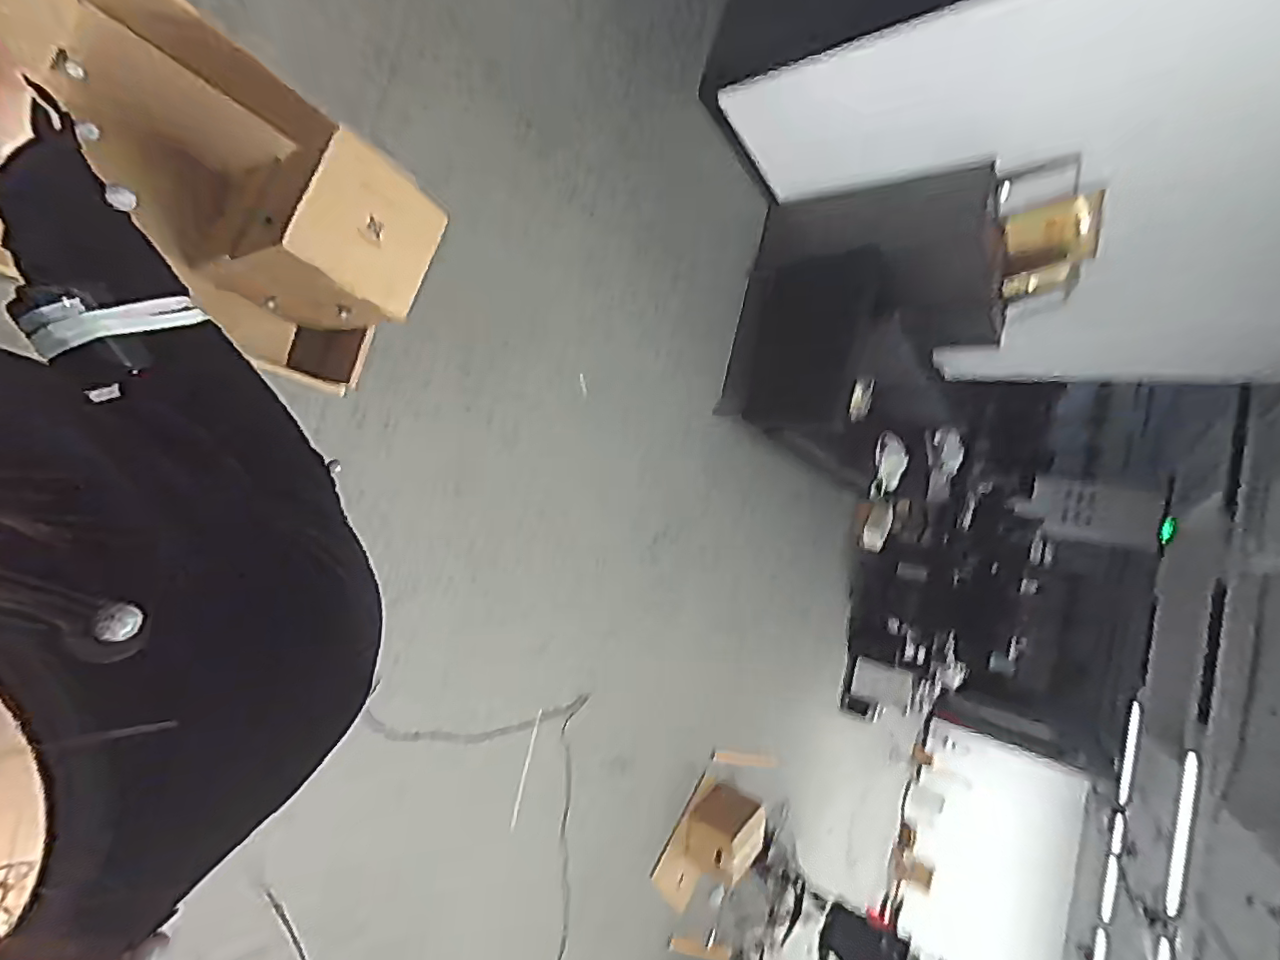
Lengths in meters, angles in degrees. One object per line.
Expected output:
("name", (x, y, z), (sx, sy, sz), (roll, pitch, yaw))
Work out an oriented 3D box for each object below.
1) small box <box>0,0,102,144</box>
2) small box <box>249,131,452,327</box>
("small box", (-0.613, -0.427, 0.466), (0.179, 0.176, 0.168), (21, 81, -51))
("small box", (-0.402, -0.328, 0.749), (0.168, 0.176, 0.179), (33, 71, -50))
